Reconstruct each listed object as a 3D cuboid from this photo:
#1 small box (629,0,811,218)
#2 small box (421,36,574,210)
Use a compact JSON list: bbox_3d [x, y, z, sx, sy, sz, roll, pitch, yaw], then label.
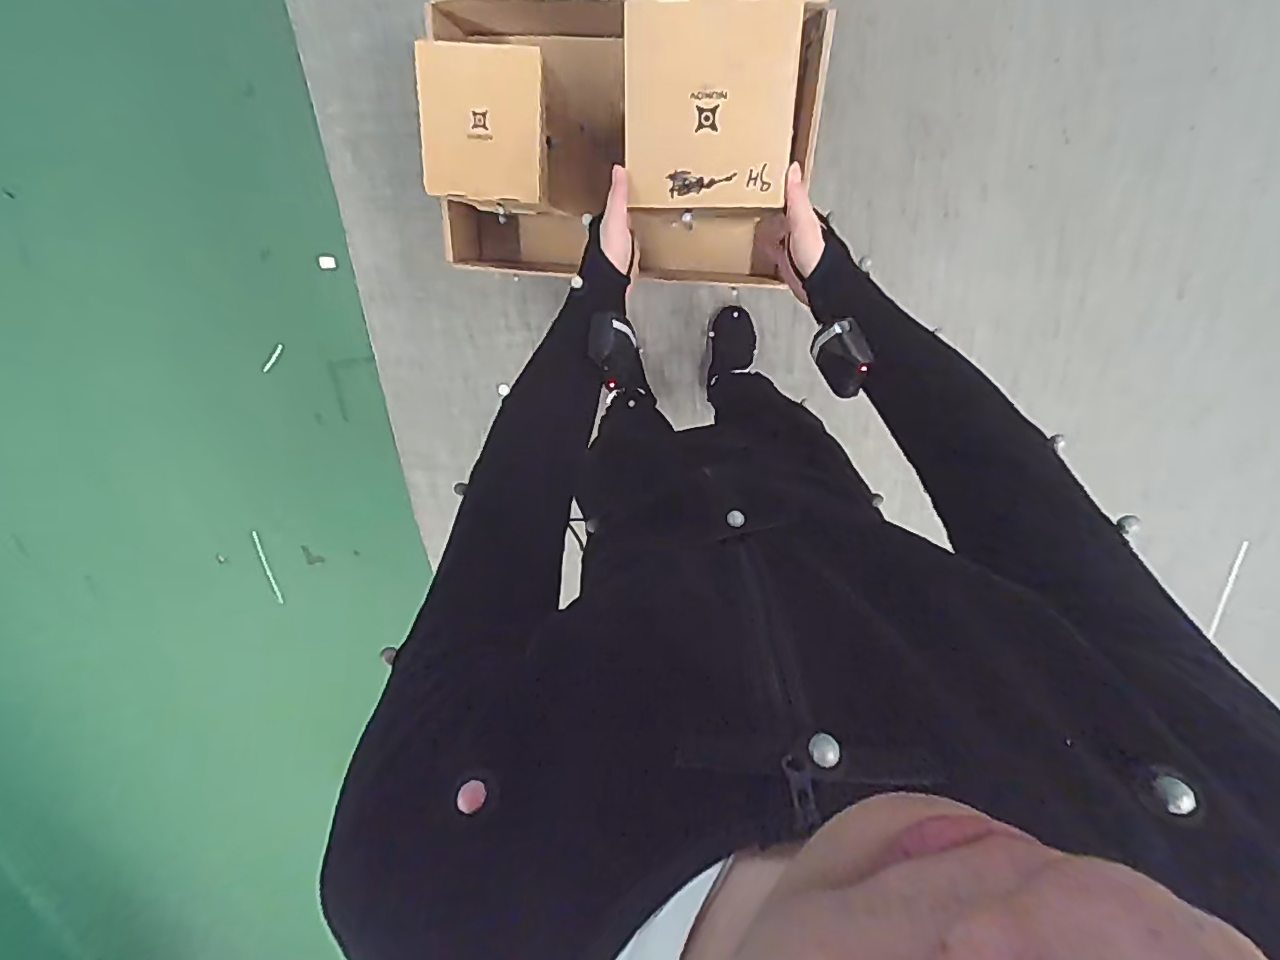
[{"bbox_3d":[0.078,-0.392,0.595,0.168,0.176,0.179,3,113,5],"label":"small box"},{"bbox_3d":[-0.195,-0.500,0.780,0.168,0.176,0.179,7,114,4],"label":"small box"}]
